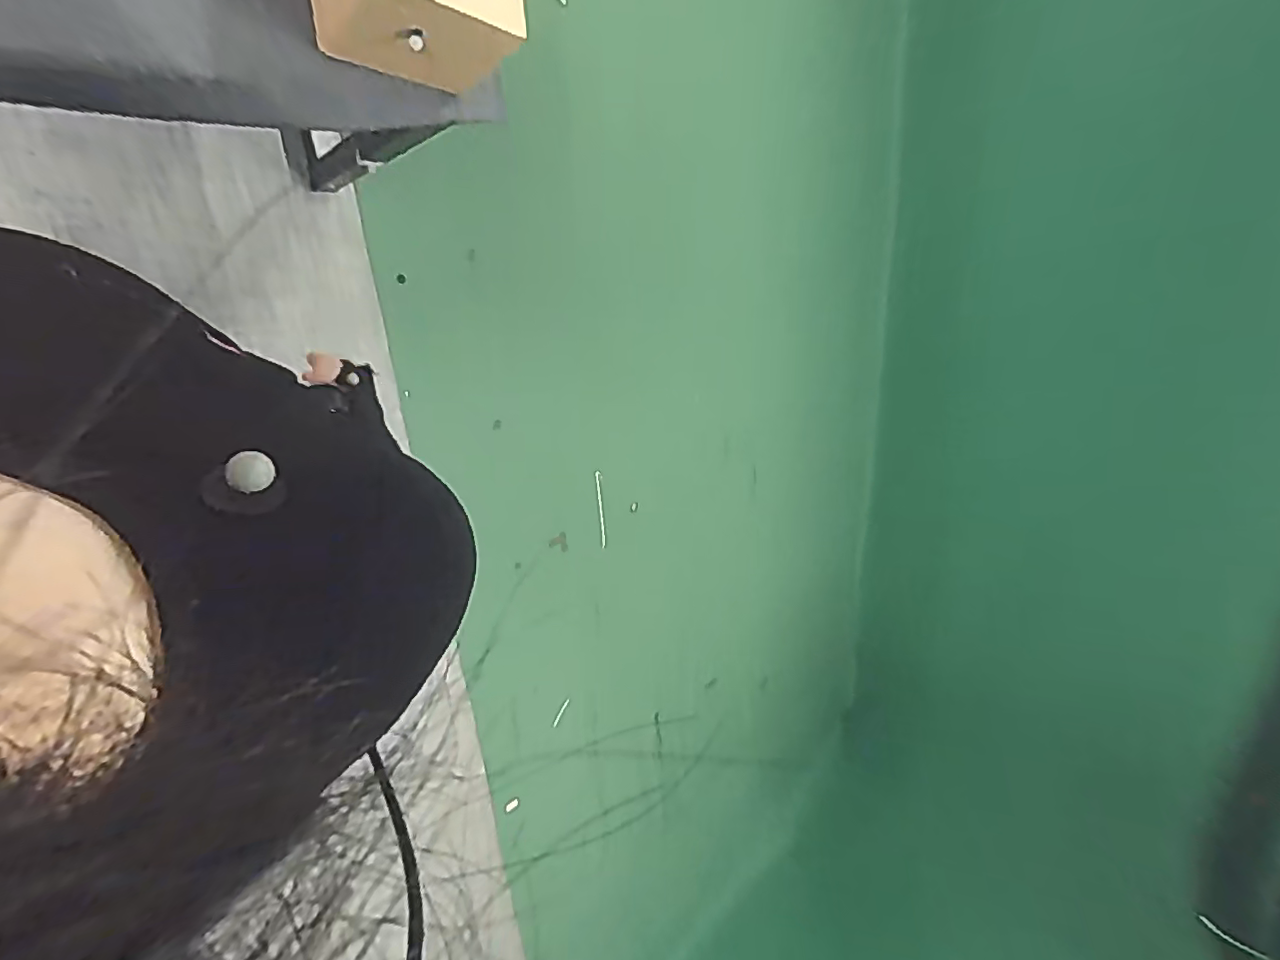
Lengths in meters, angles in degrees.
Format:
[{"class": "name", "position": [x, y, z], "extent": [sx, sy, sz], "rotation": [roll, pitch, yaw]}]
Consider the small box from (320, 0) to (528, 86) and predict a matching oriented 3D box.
[{"class": "small box", "position": [-0.248, -0.574, 0.596], "extent": [0.179, 0.176, 0.168], "rotation": [-15, 108, -41]}]
